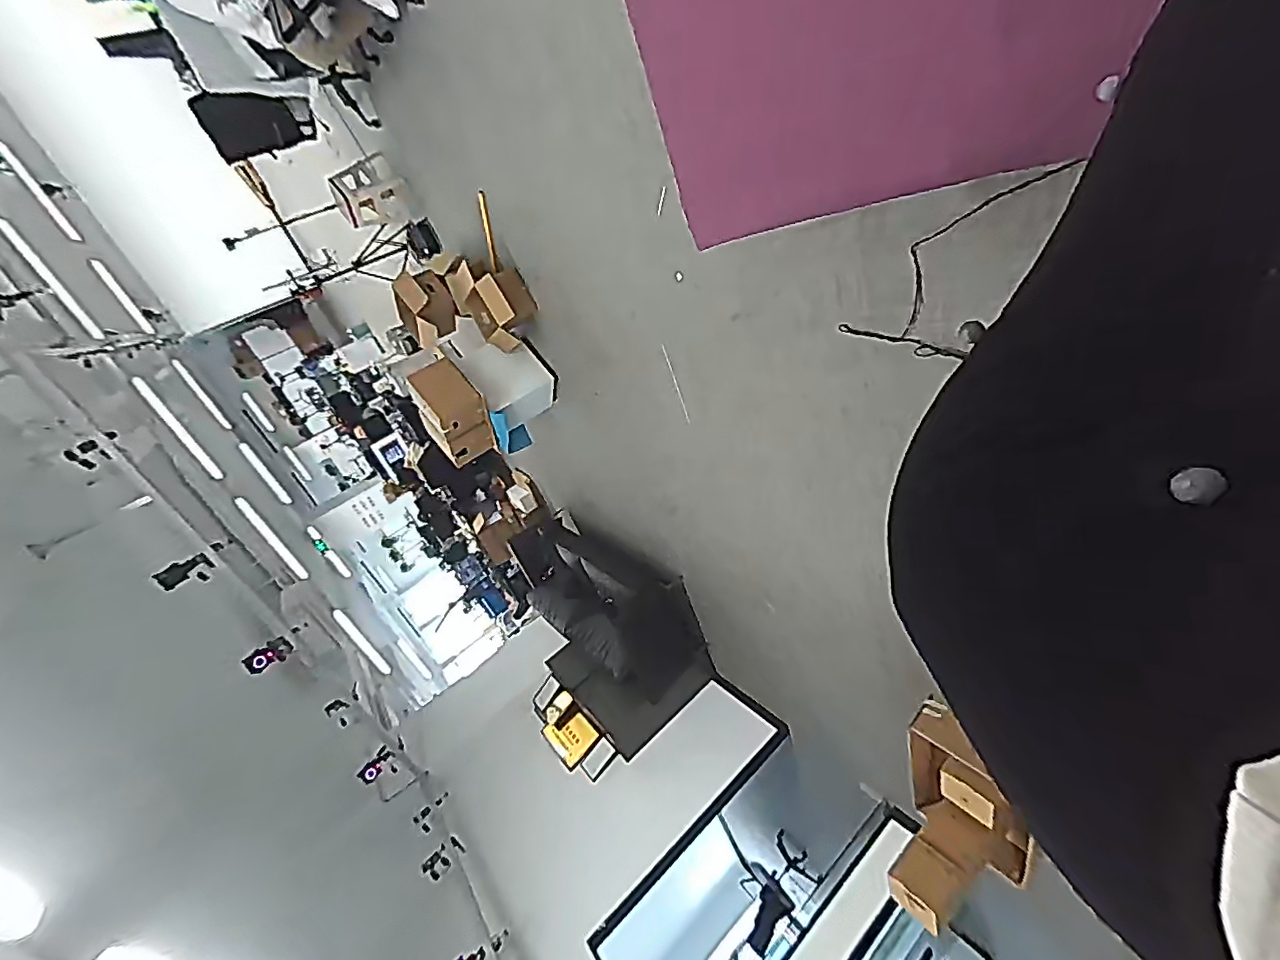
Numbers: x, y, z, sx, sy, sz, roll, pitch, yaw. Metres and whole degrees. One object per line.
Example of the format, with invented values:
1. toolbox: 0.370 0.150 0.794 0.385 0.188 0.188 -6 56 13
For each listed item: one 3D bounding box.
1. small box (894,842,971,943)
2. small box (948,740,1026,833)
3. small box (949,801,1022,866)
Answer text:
1. small box: 0.967 1.351 1.783 0.168 0.176 0.179 23 139 53
2. small box: 1.148 1.010 1.791 0.168 0.176 0.179 25 144 49
3. small box: 1.228 1.209 1.925 0.168 0.176 0.179 25 140 51
